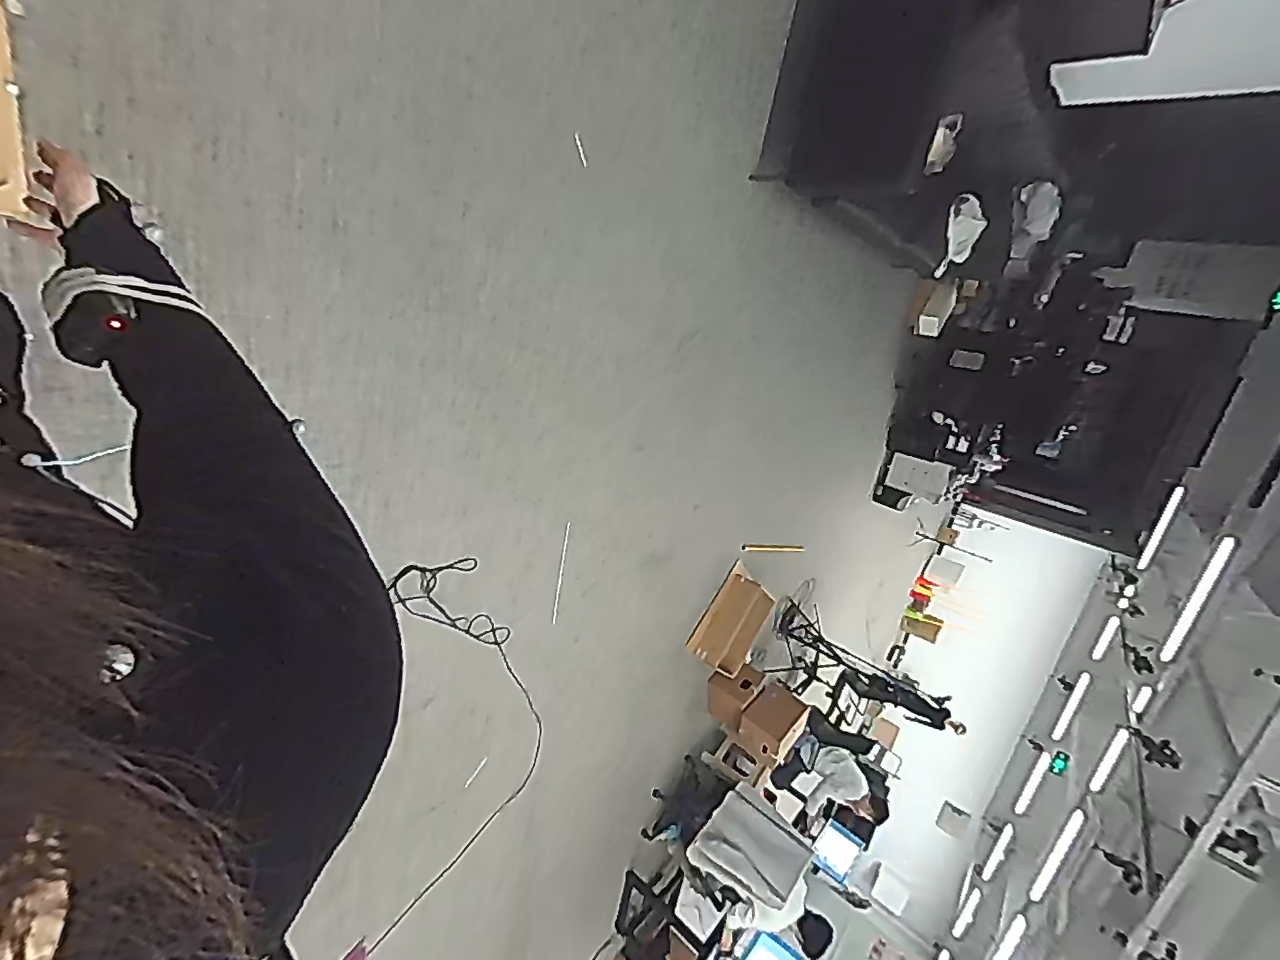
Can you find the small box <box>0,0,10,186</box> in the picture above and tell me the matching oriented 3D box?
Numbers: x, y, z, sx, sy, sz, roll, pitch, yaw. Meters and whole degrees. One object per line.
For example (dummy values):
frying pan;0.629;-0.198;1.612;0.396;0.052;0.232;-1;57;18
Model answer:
small box;-0.686;-0.382;0.478;0.168;0.176;0.179;-4;112;-50
